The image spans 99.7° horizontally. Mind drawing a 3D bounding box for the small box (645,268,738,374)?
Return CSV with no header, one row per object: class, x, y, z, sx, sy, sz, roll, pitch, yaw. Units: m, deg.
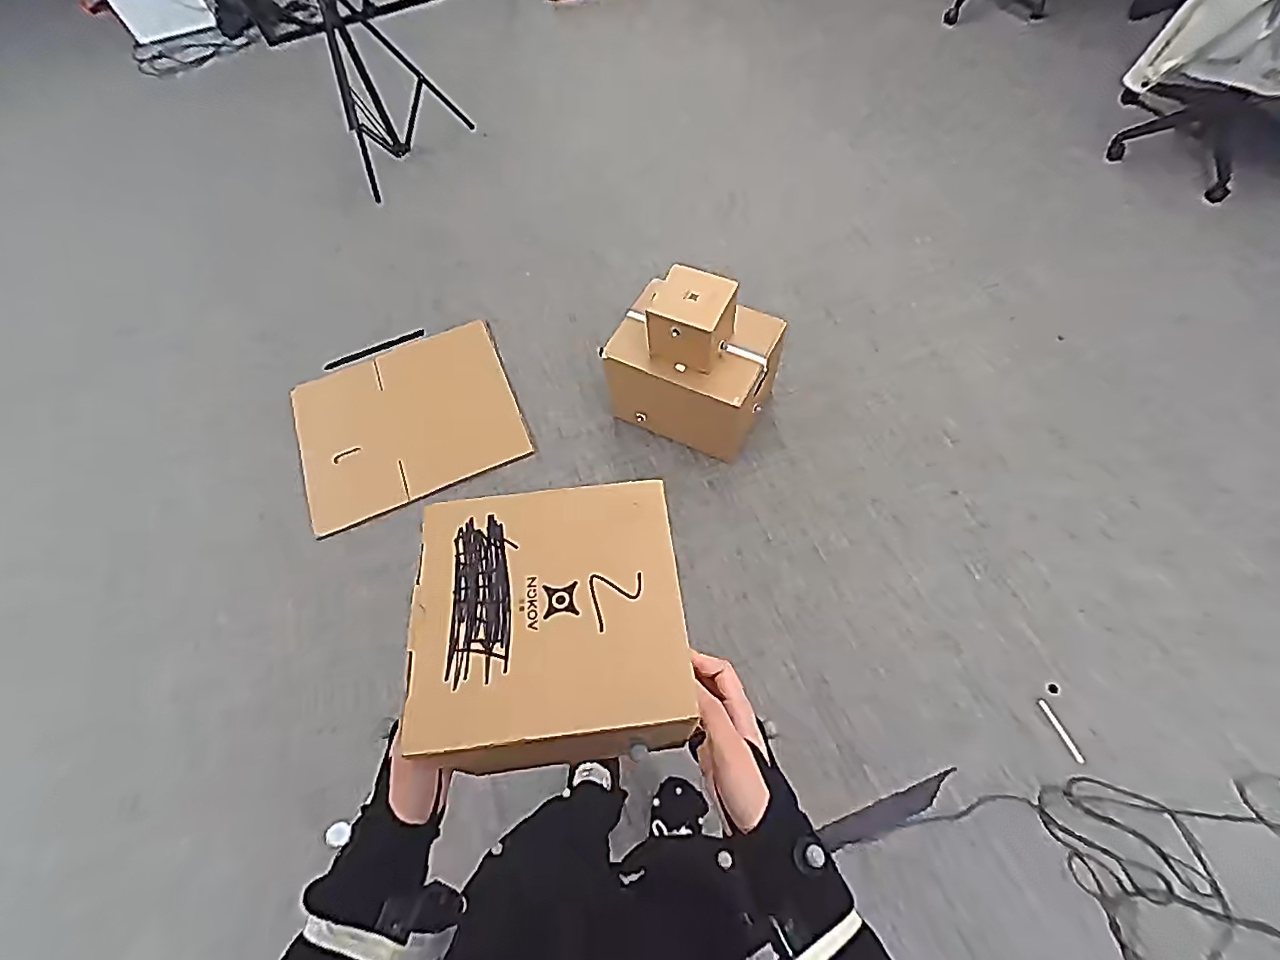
small box,0.129,-0.394,1.363,0.179,0.176,0.168,22,69,14
